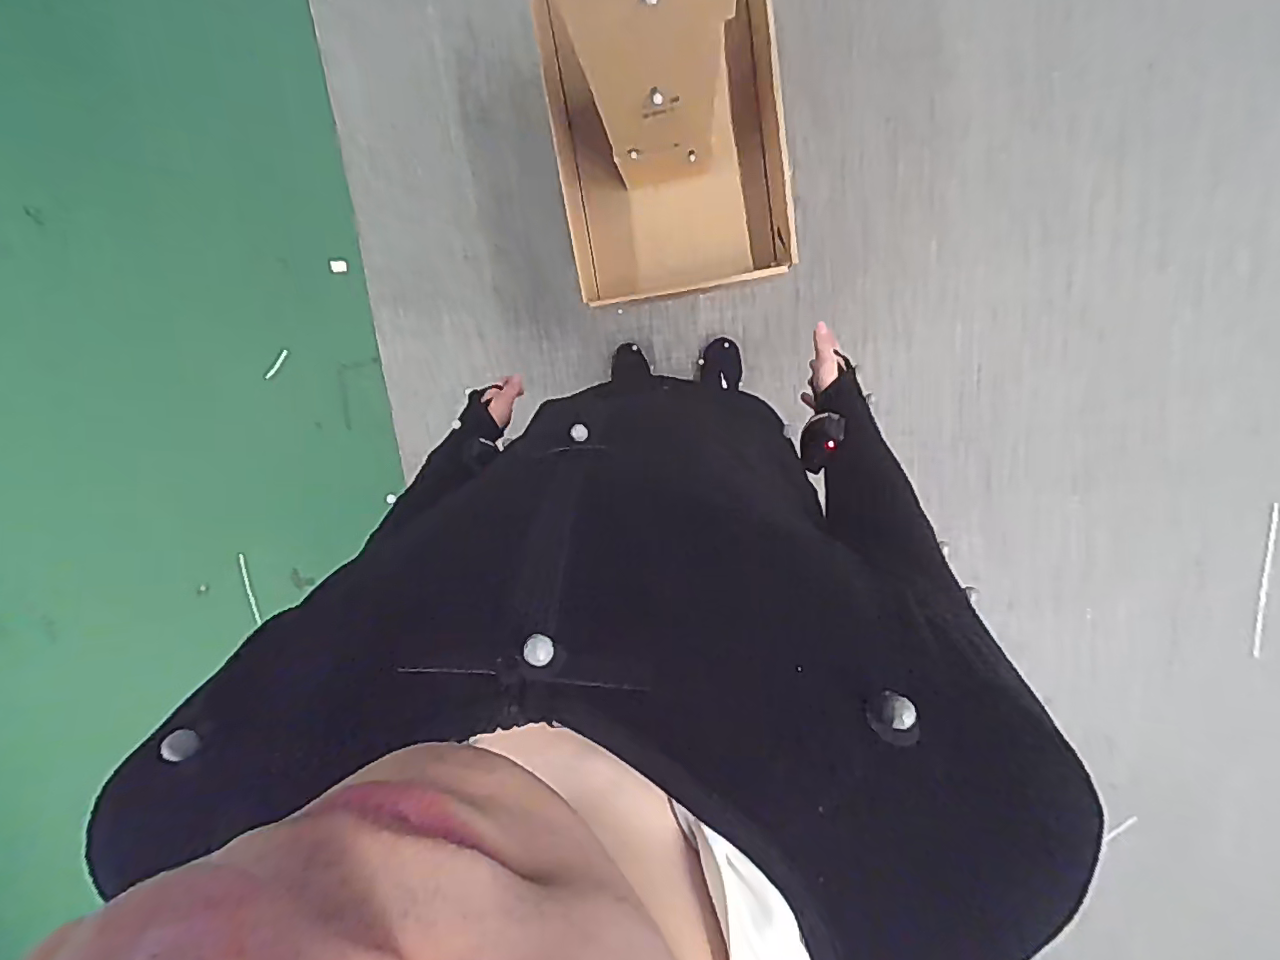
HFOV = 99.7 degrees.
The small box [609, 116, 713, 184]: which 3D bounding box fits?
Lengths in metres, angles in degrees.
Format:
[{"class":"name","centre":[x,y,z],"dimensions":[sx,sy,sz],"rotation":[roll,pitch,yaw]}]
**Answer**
[{"class":"small box","centre":[0.035,-0.657,0.973],"dimensions":[0.179,0.176,0.168],"rotation":[-8,102,7]}]

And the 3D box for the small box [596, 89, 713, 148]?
[{"class":"small box","centre":[0.021,-0.626,0.813],"dimensions":[0.168,0.176,0.179],"rotation":[-5,101,6]}]

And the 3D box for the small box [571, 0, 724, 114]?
[{"class":"small box","centre":[0.006,-0.587,0.653],"dimensions":[0.168,0.176,0.179],"rotation":[-7,102,7]}]
